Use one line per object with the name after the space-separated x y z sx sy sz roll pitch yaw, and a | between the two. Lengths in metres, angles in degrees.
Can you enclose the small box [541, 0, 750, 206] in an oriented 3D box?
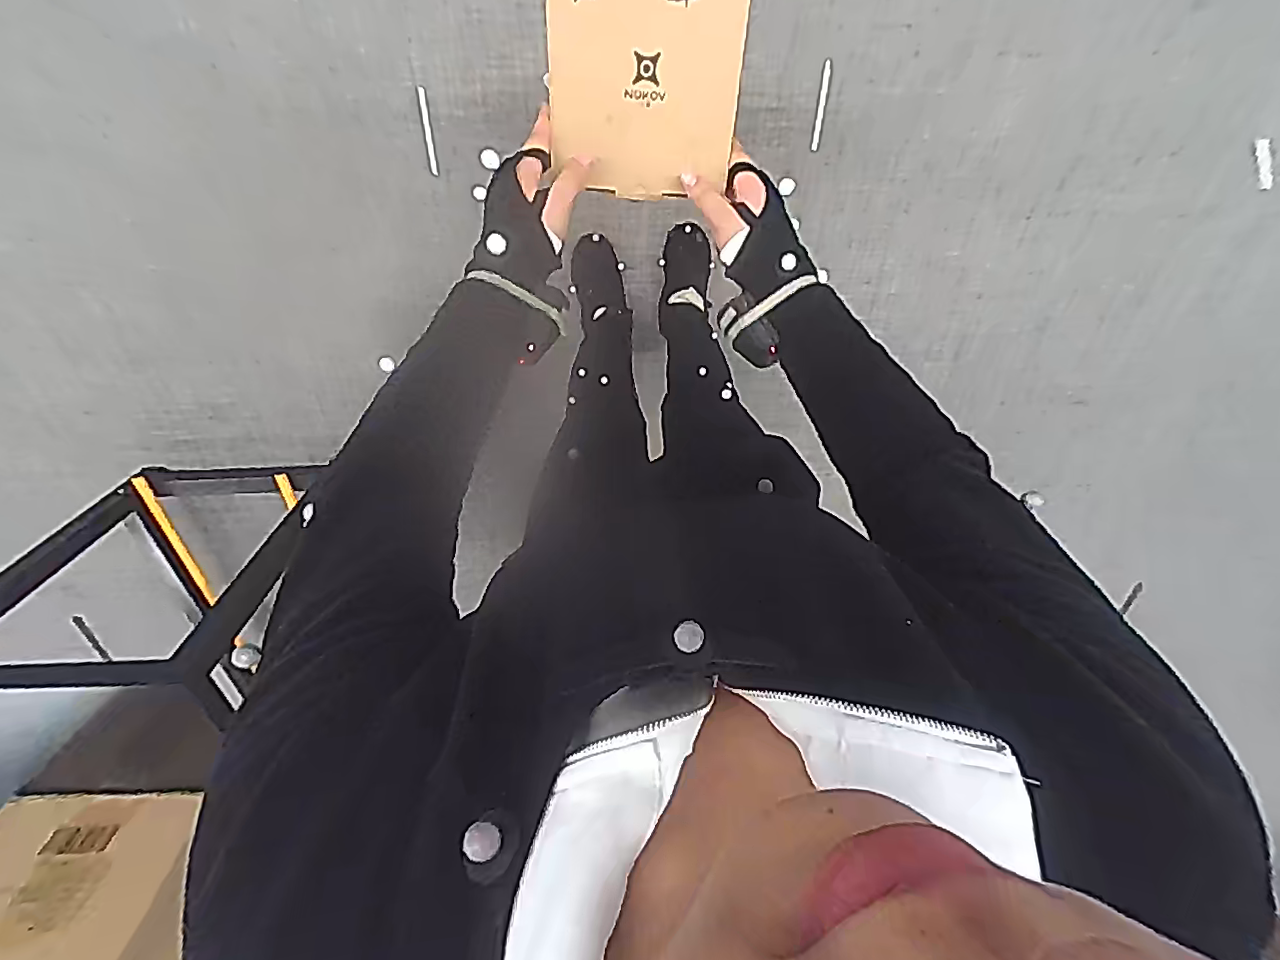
-0.001 -0.378 0.516 0.168 0.176 0.179 2 125 -4 | small box
